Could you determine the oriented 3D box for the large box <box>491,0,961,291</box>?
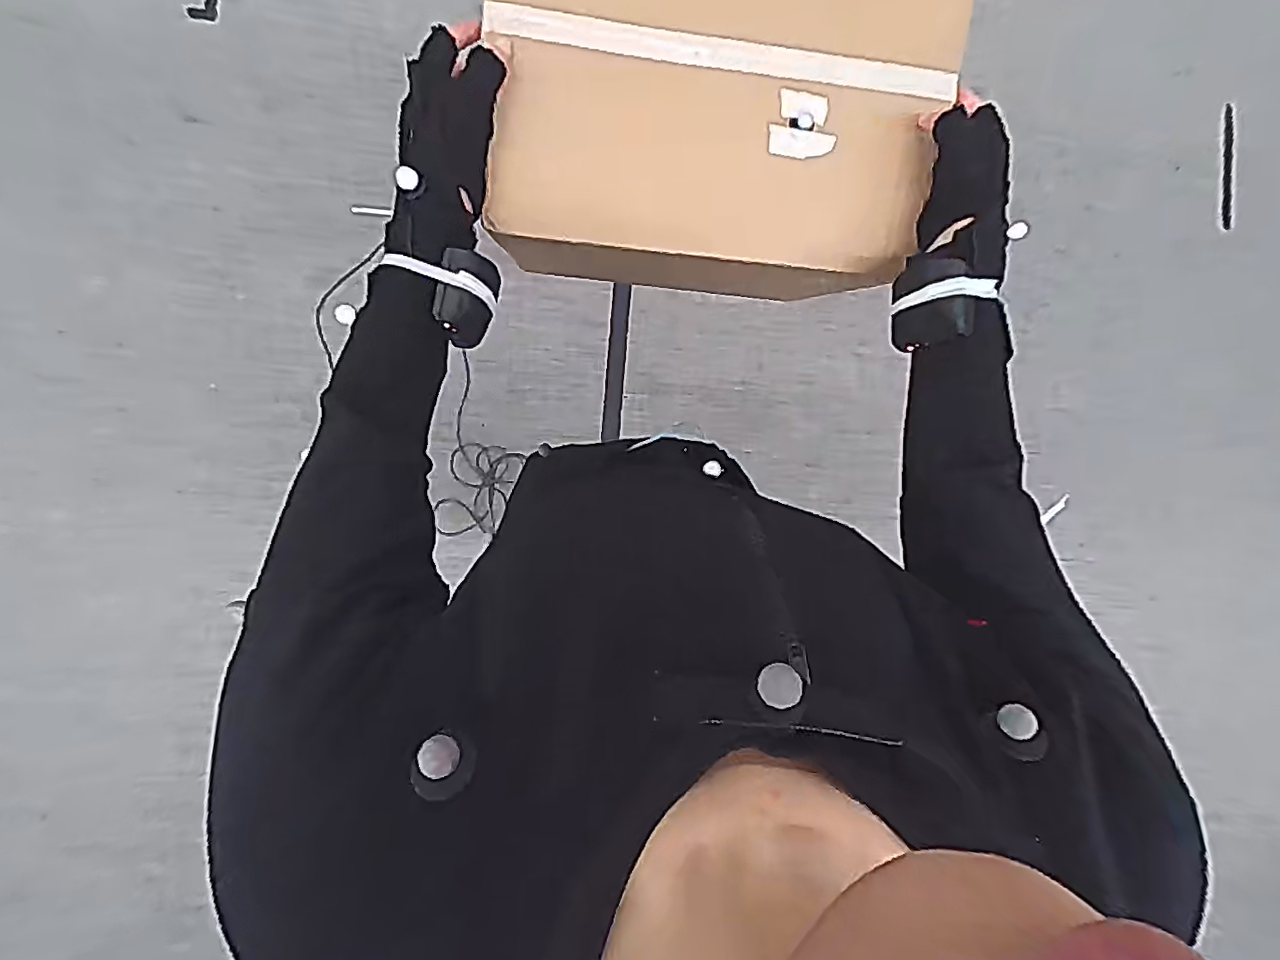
[{"bbox_3d":[0.058,-0.401,0.604,0.408,0.320,0.320,3,105,-8],"label":"large box"}]
